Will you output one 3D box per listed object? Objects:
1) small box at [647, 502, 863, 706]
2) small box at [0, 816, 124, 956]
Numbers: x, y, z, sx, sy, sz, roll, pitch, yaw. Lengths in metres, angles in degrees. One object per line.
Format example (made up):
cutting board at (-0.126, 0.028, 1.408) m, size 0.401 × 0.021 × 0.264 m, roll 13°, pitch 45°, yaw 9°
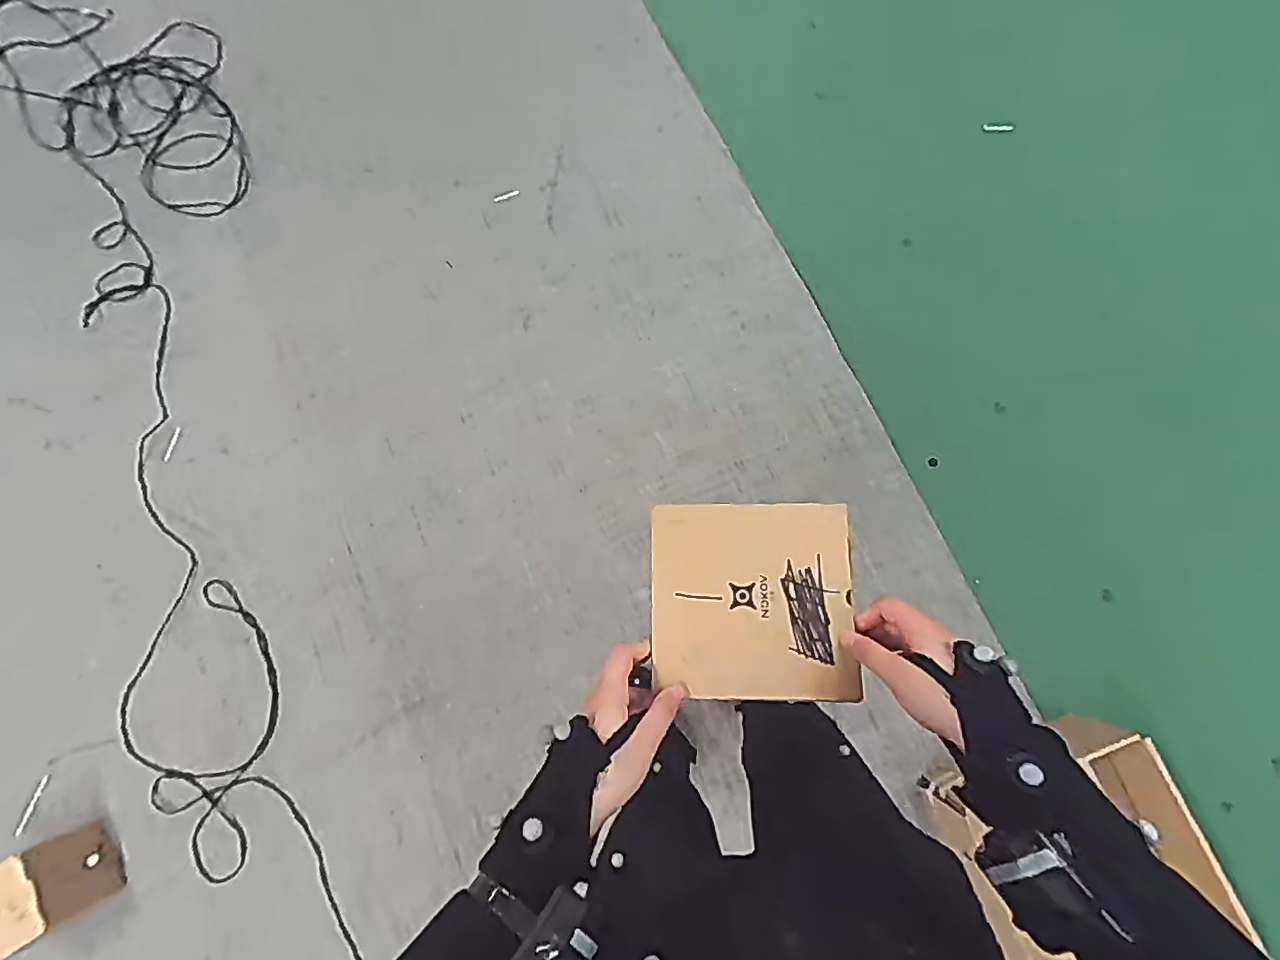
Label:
small box at (0.098, 0.116, 0.529) m, size 0.179 × 0.176 × 0.168 m, roll 0°, pitch 78°, yaw 4°
small box at (-1.280, 0.869, 1.152) m, size 0.179 × 0.176 × 0.168 m, roll -33°, pitch 81°, yaw -4°
